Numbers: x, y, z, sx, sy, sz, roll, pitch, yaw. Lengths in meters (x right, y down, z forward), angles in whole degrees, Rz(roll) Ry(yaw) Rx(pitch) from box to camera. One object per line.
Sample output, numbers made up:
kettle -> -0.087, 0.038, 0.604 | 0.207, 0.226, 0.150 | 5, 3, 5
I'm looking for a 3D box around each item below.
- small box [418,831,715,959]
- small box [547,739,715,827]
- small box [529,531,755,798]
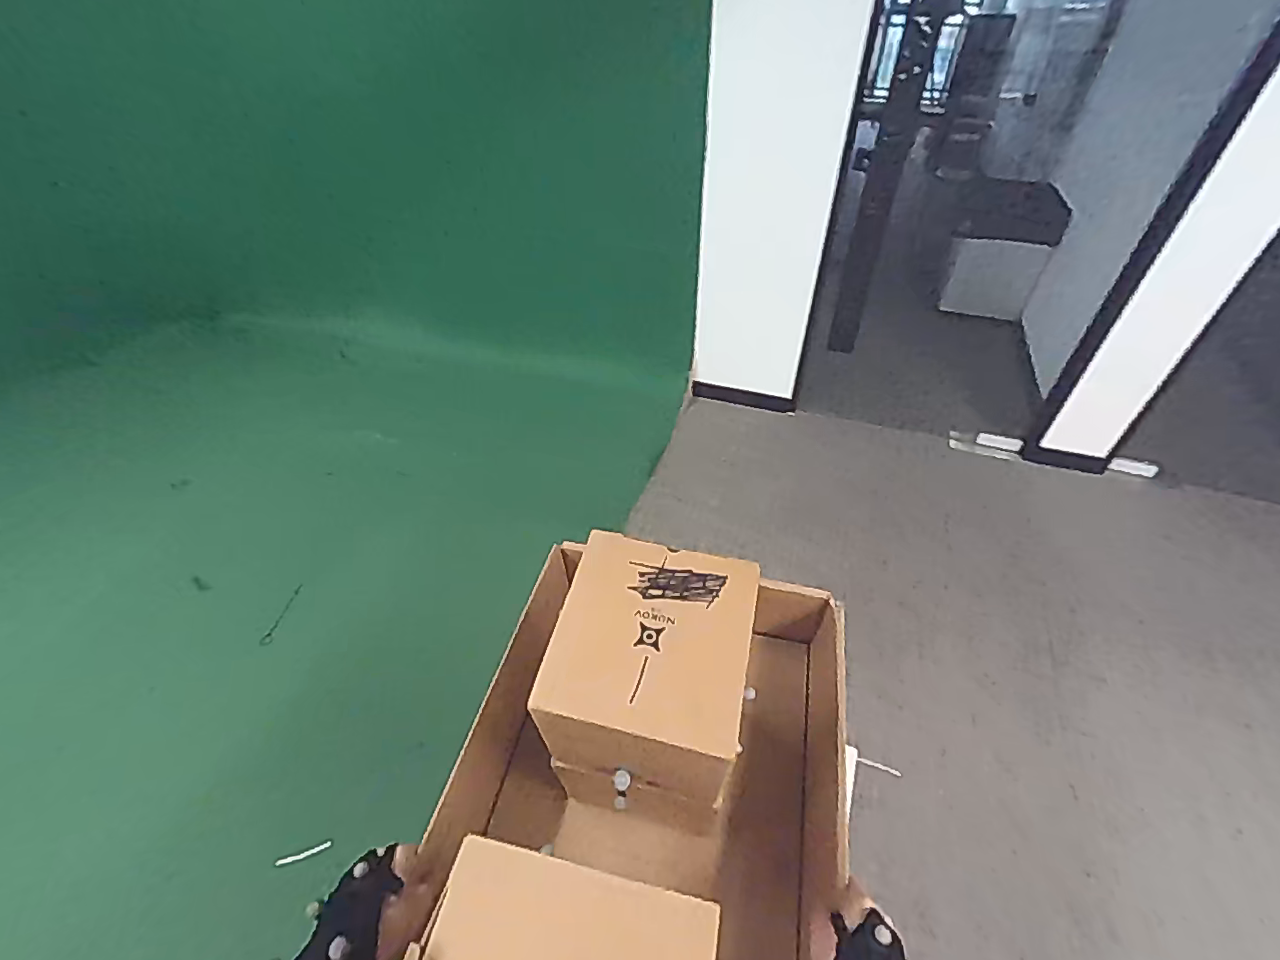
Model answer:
small box -> -0.054, 0.367, 0.366 | 0.179, 0.176, 0.168 | 10, 49, 8
small box -> 0.008, 0.294, 0.649 | 0.179, 0.176, 0.168 | 10, 50, 10
small box -> 0.009, 0.181, 0.529 | 0.168, 0.176, 0.179 | 11, 51, 9
